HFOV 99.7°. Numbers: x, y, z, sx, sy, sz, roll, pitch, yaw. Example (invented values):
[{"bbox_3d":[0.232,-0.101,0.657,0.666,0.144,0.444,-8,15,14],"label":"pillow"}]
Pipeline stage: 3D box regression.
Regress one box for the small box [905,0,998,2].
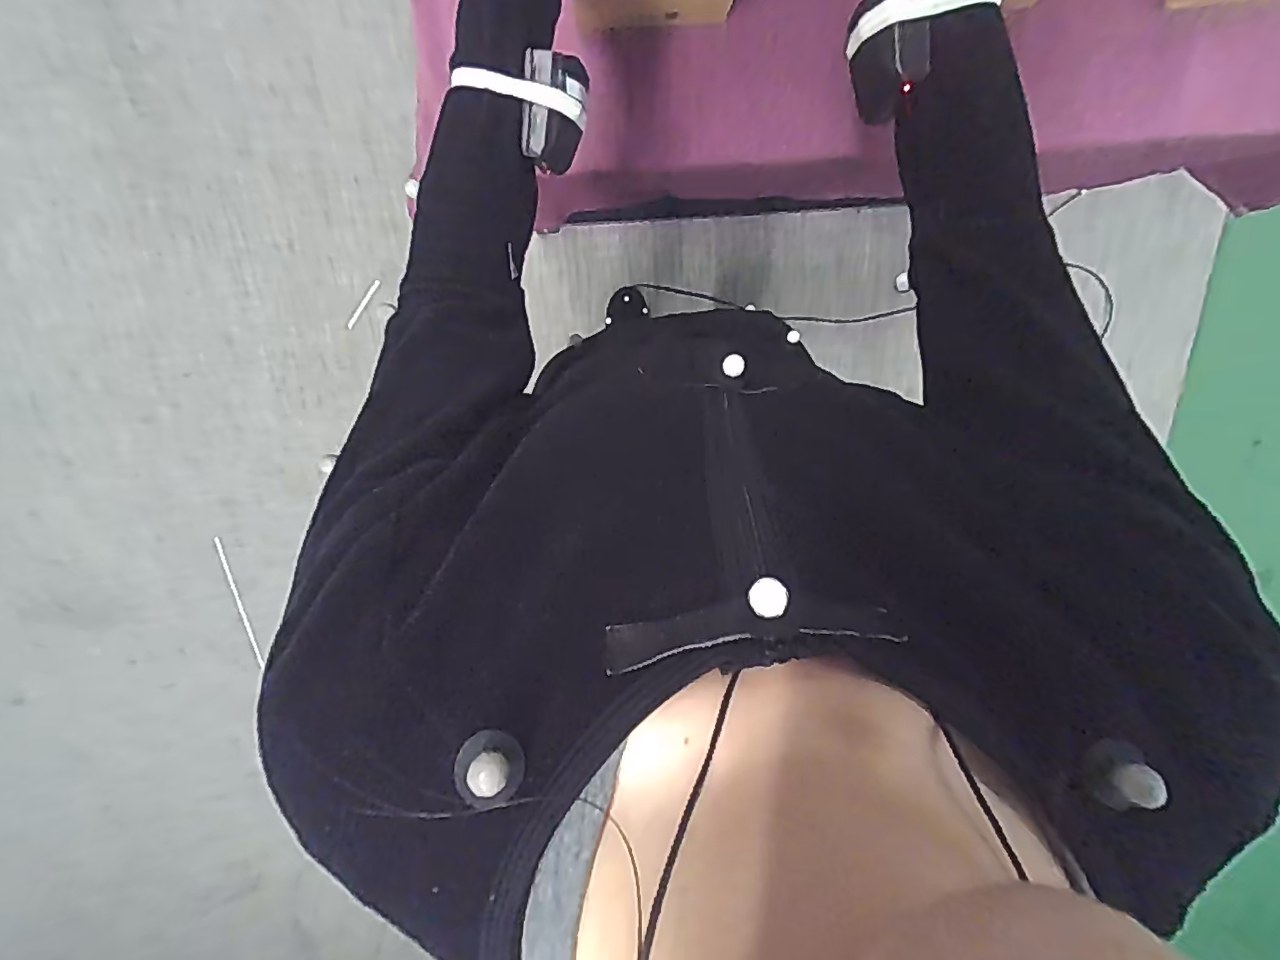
[{"bbox_3d":[0.343,-0.582,0.499,0.179,0.176,0.168,-4,108,-3],"label":"small box"}]
